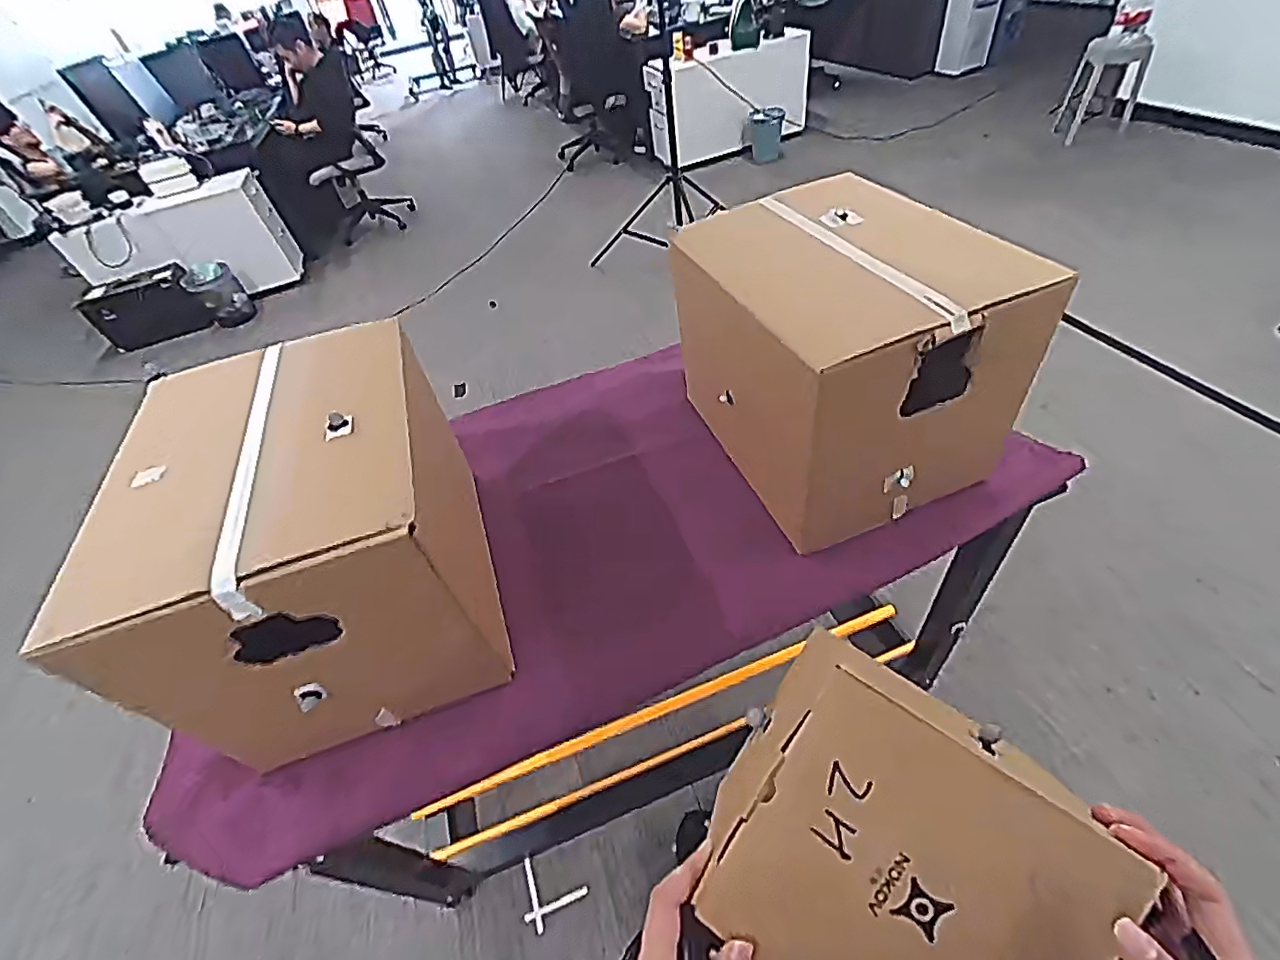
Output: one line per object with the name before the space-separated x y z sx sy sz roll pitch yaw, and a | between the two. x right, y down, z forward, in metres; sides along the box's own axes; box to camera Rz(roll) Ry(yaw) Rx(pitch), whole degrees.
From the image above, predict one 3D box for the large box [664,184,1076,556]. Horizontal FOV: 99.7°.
large box | 0.269 -0.171 0.774 0.320 0.320 0.408 -20 45 -8
